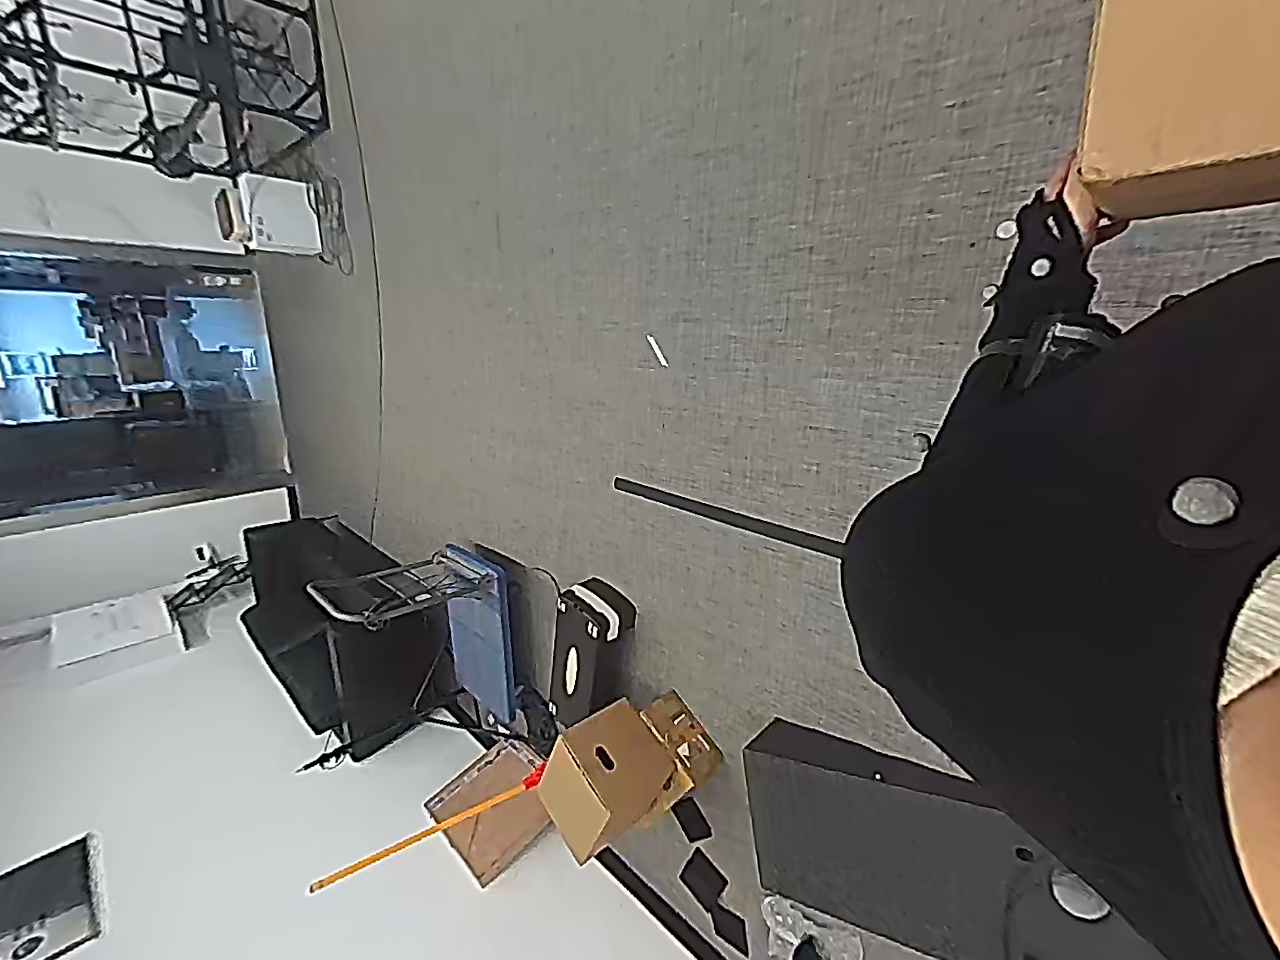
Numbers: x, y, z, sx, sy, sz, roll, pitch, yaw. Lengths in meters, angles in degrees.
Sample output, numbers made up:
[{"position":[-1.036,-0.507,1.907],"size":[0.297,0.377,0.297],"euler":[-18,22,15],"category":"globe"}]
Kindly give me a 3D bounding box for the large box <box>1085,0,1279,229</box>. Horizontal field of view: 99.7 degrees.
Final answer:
[{"position":[0.448,-0.306,0.205],"size":[0.408,0.320,0.320],"euler":[9,113,40],"category":"large box"}]
